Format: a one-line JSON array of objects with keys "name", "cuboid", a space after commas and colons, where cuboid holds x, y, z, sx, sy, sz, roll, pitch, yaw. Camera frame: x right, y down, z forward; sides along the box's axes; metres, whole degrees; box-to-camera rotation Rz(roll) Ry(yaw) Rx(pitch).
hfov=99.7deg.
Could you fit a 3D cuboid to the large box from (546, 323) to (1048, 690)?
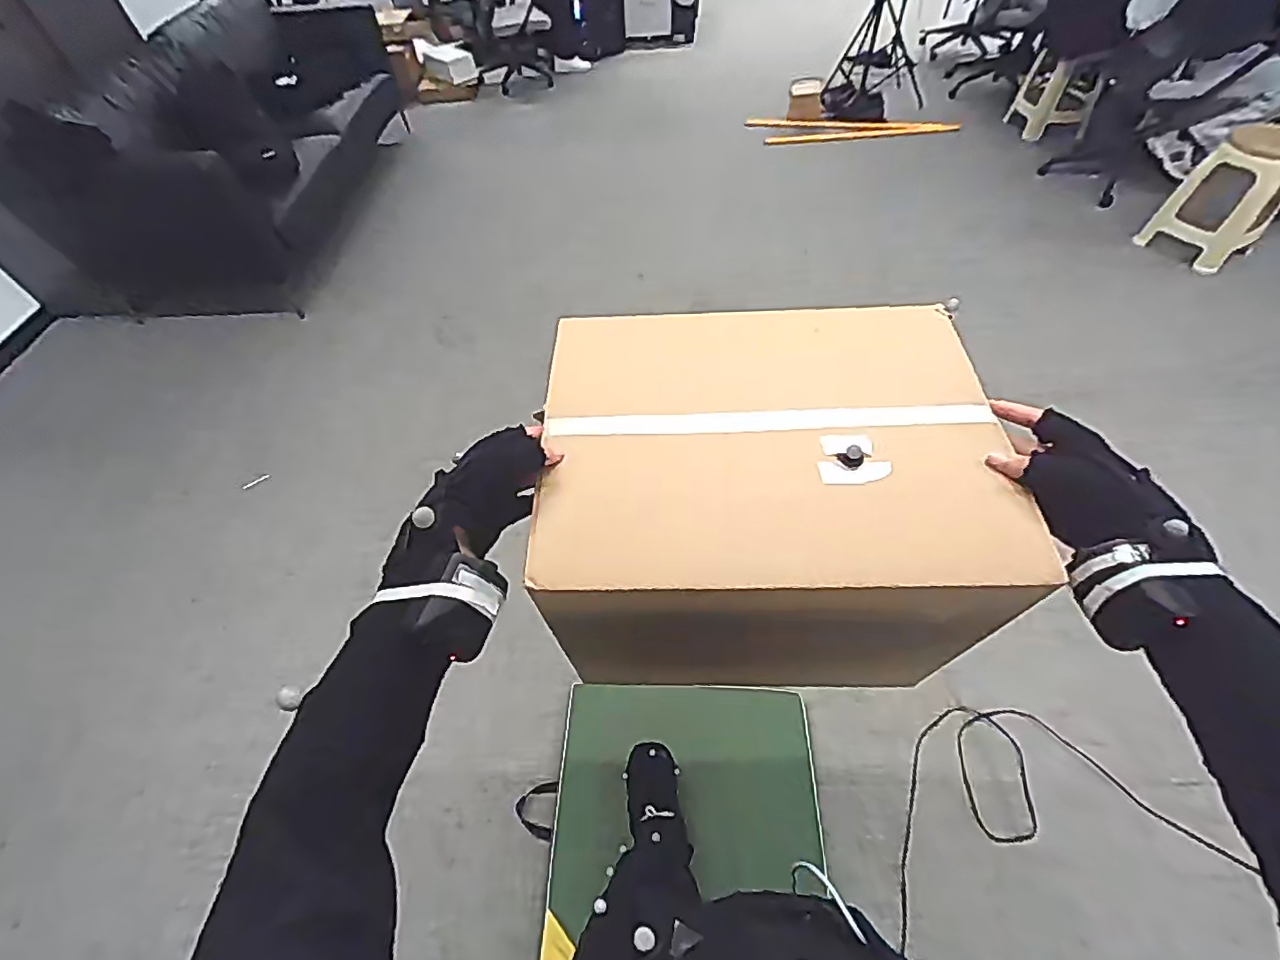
[{"name": "large box", "cuboid": [0.125, 0.045, 0.630, 0.408, 0.320, 0.320, -1, 56, 2]}]
